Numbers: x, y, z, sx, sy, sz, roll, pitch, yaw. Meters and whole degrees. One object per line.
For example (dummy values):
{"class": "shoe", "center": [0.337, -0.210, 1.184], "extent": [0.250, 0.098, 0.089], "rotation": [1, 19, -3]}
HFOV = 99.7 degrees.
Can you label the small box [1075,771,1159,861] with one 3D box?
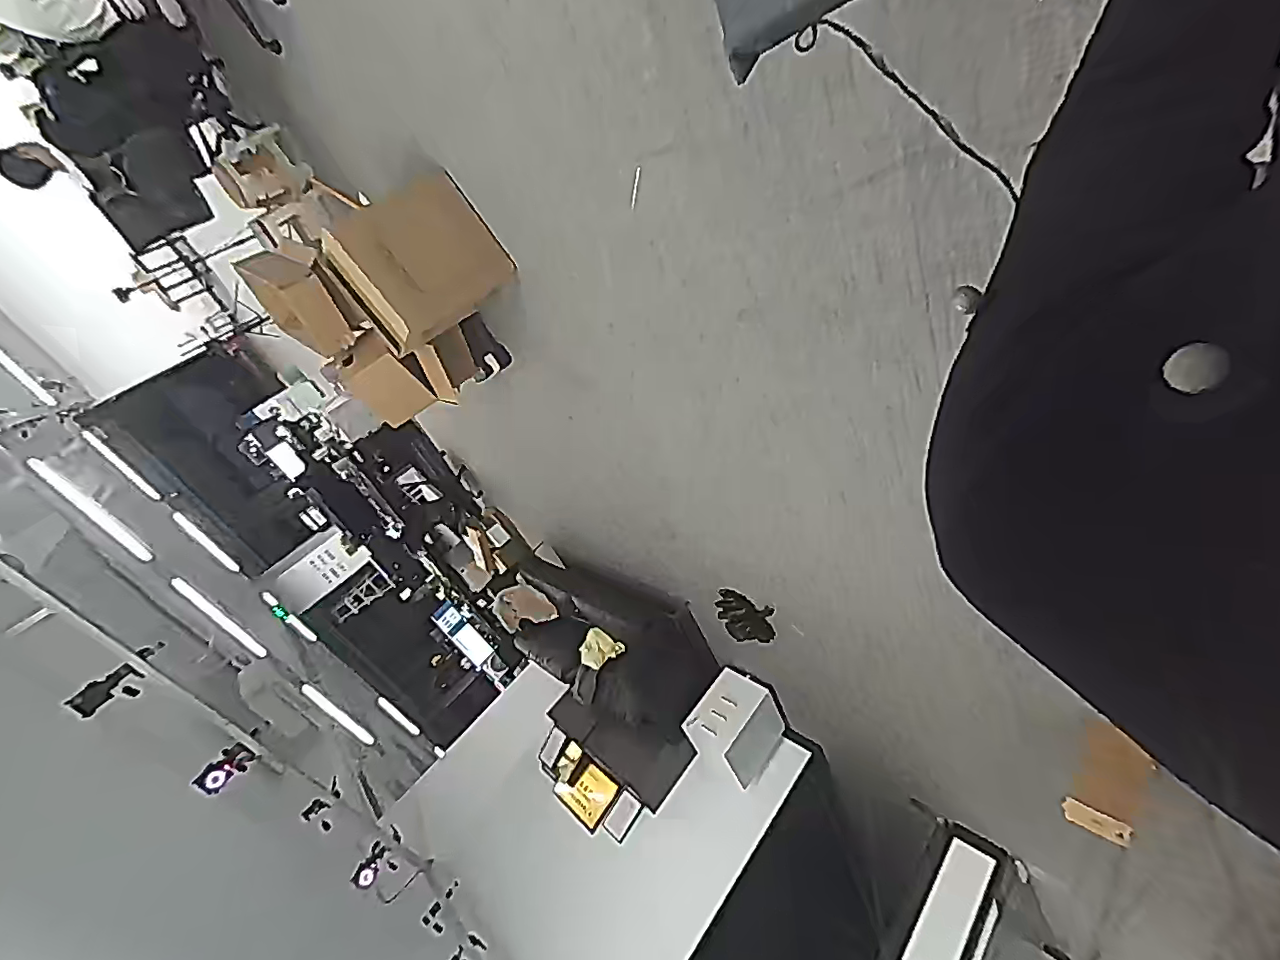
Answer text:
{"class": "small box", "center": [1.608, 1.121, 1.825], "extent": [0.179, 0.176, 0.168], "rotation": [15, 140, 47]}
